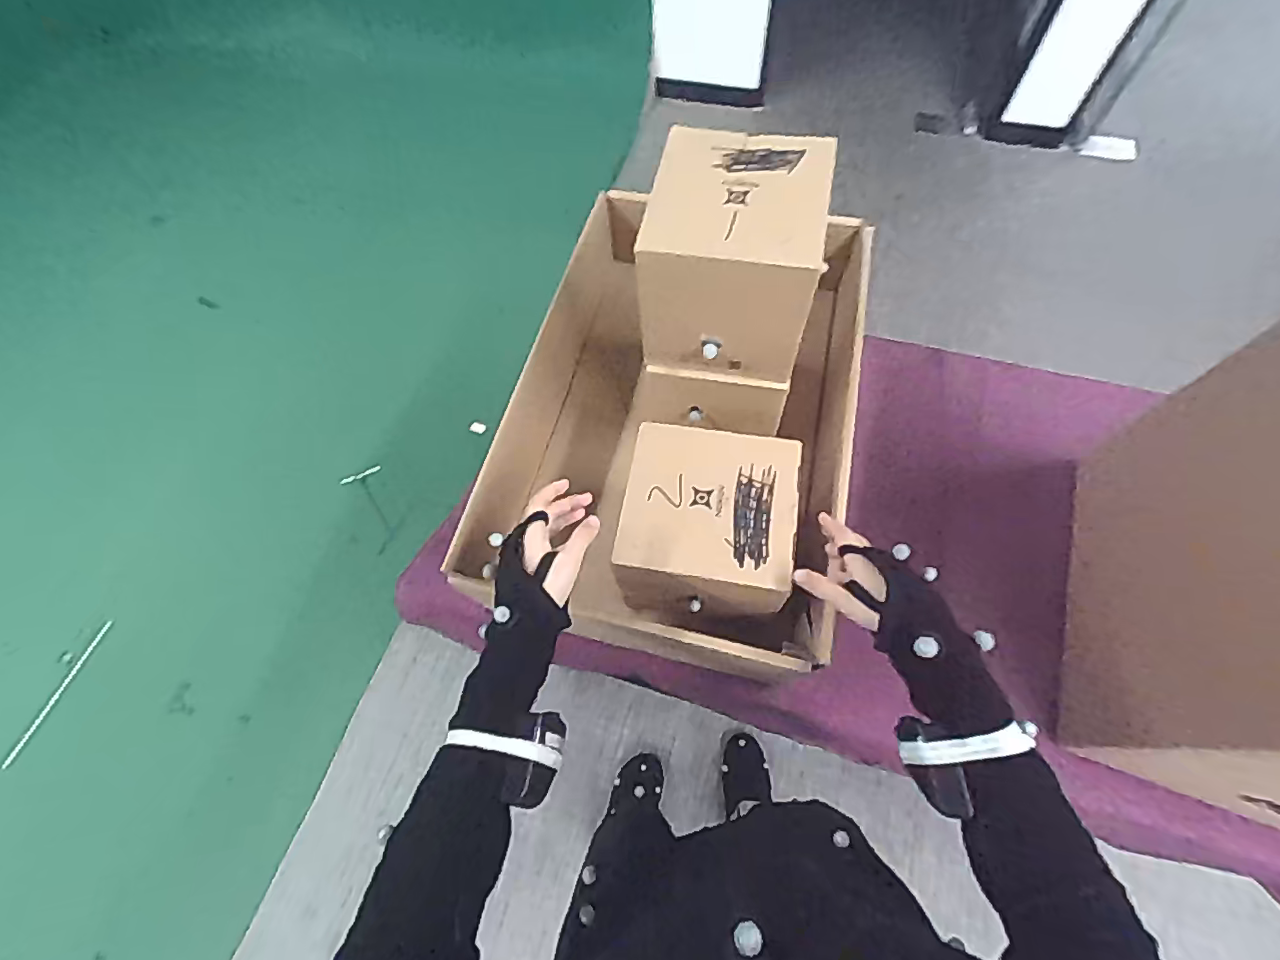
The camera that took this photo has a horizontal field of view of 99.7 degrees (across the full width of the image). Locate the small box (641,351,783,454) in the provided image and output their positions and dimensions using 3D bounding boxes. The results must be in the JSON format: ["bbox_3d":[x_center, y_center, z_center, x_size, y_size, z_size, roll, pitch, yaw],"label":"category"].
[{"bbox_3d":[0.105,-0.152,0.722,0.168,0.176,0.179,9,65,9],"label":"small box"}]

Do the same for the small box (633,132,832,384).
[{"bbox_3d":[0.095,-0.229,0.577,0.168,0.176,0.179,10,67,9],"label":"small box"}]
